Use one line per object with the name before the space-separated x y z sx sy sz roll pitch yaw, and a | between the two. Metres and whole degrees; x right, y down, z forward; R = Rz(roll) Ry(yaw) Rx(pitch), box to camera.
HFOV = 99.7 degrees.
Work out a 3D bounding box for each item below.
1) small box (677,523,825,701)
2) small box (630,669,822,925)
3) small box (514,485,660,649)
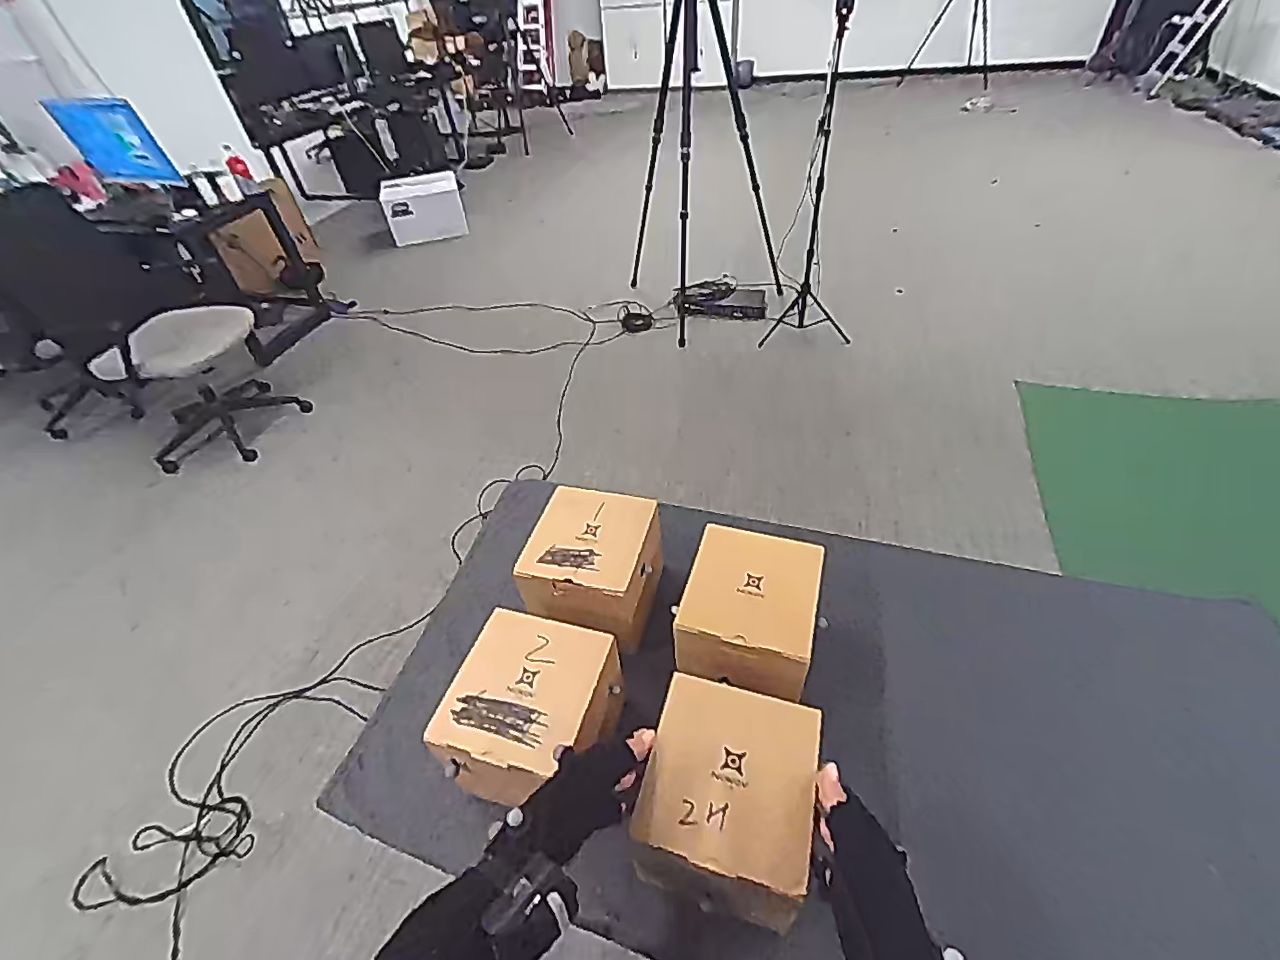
small box | 0.152 0.192 0.758 0.168 0.176 0.179 11 48 16
small box | 0.097 0.347 0.599 0.168 0.176 0.179 10 45 16
small box | -0.068 0.136 0.837 0.168 0.176 0.179 9 46 14
